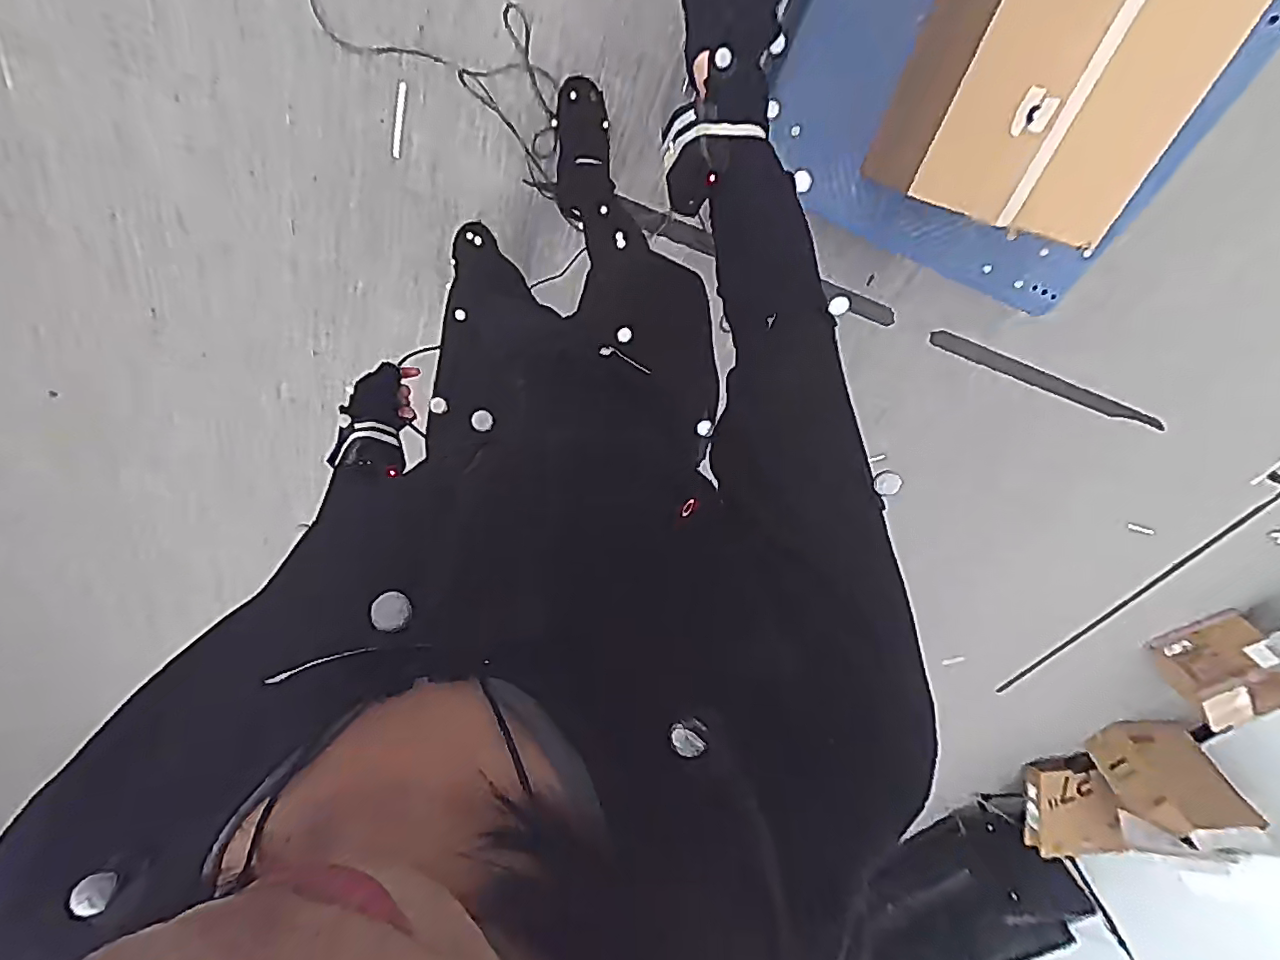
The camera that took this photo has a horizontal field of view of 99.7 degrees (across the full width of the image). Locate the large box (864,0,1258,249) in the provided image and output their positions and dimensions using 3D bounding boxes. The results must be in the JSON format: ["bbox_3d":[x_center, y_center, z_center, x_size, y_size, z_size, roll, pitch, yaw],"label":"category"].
[{"bbox_3d":[0.615,-0.641,0.846,0.320,0.320,0.408,15,126,-3],"label":"large box"}]
